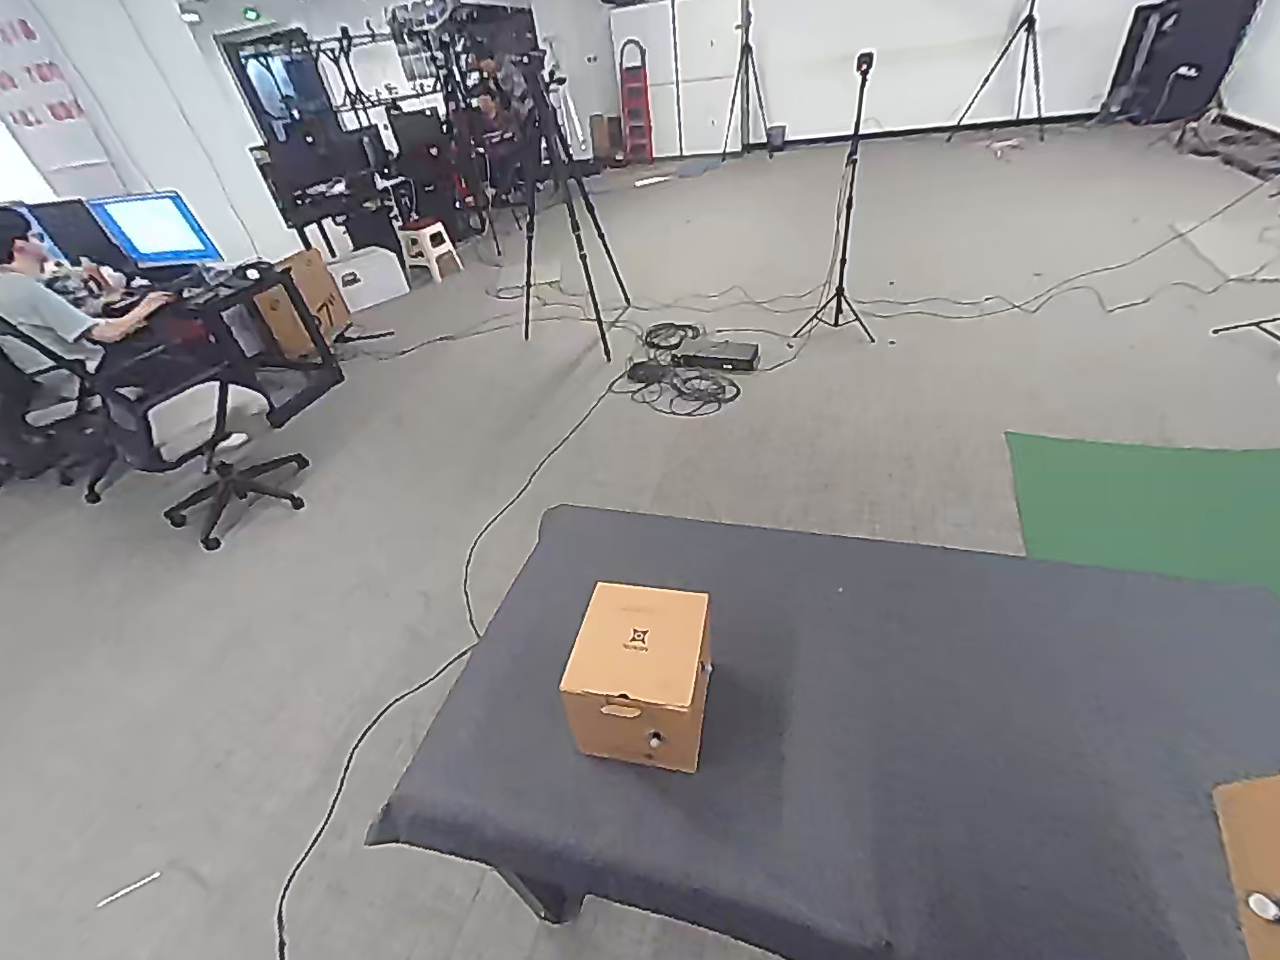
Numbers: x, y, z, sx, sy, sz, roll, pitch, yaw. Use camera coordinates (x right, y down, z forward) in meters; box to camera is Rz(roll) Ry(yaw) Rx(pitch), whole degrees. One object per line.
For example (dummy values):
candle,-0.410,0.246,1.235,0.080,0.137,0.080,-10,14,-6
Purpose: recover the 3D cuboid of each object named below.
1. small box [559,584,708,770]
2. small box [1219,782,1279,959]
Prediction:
small box,0.004,0.273,0.756,0.168,0.176,0.179,4,38,12
small box,0.528,0.302,0.329,0.168,0.176,0.179,13,57,14
